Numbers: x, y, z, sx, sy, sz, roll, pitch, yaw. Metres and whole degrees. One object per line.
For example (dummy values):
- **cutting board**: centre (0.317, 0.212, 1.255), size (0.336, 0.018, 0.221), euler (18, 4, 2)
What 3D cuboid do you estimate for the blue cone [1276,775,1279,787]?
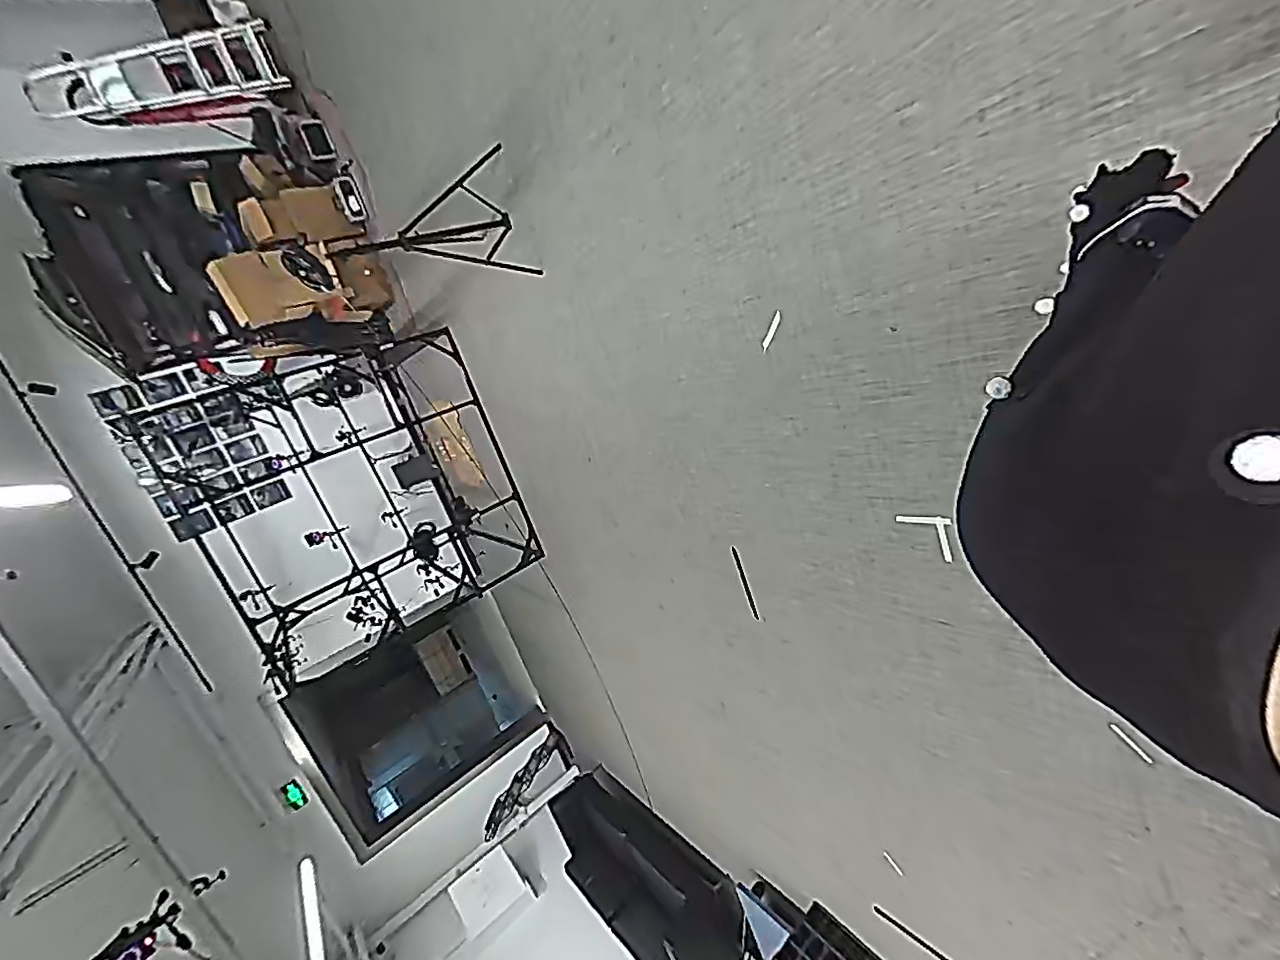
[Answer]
- **blue cone**: centre (1.443, 0.753, 1.105), size (0.193, 0.380, 0.192), euler (31, 138, 43)
